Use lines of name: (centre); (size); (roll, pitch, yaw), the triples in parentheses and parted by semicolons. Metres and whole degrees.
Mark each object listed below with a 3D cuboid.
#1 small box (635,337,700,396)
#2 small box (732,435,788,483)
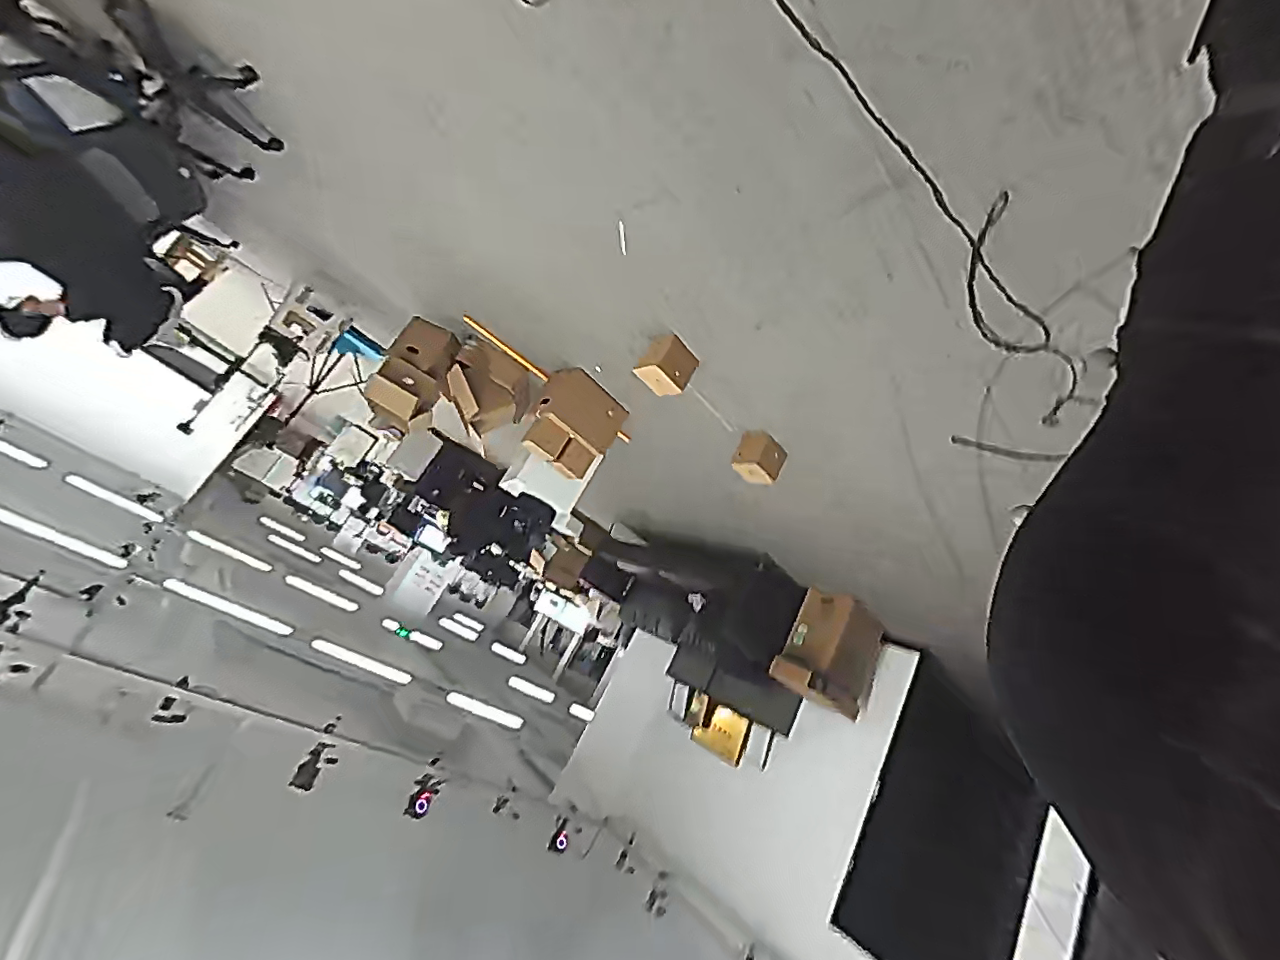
small box: (0.118, -0.478, 2.258); (0.179, 0.176, 0.168); (39, 160, -32)
small box: (0.580, -0.105, 2.601); (0.168, 0.176, 0.179); (39, 160, -31)
